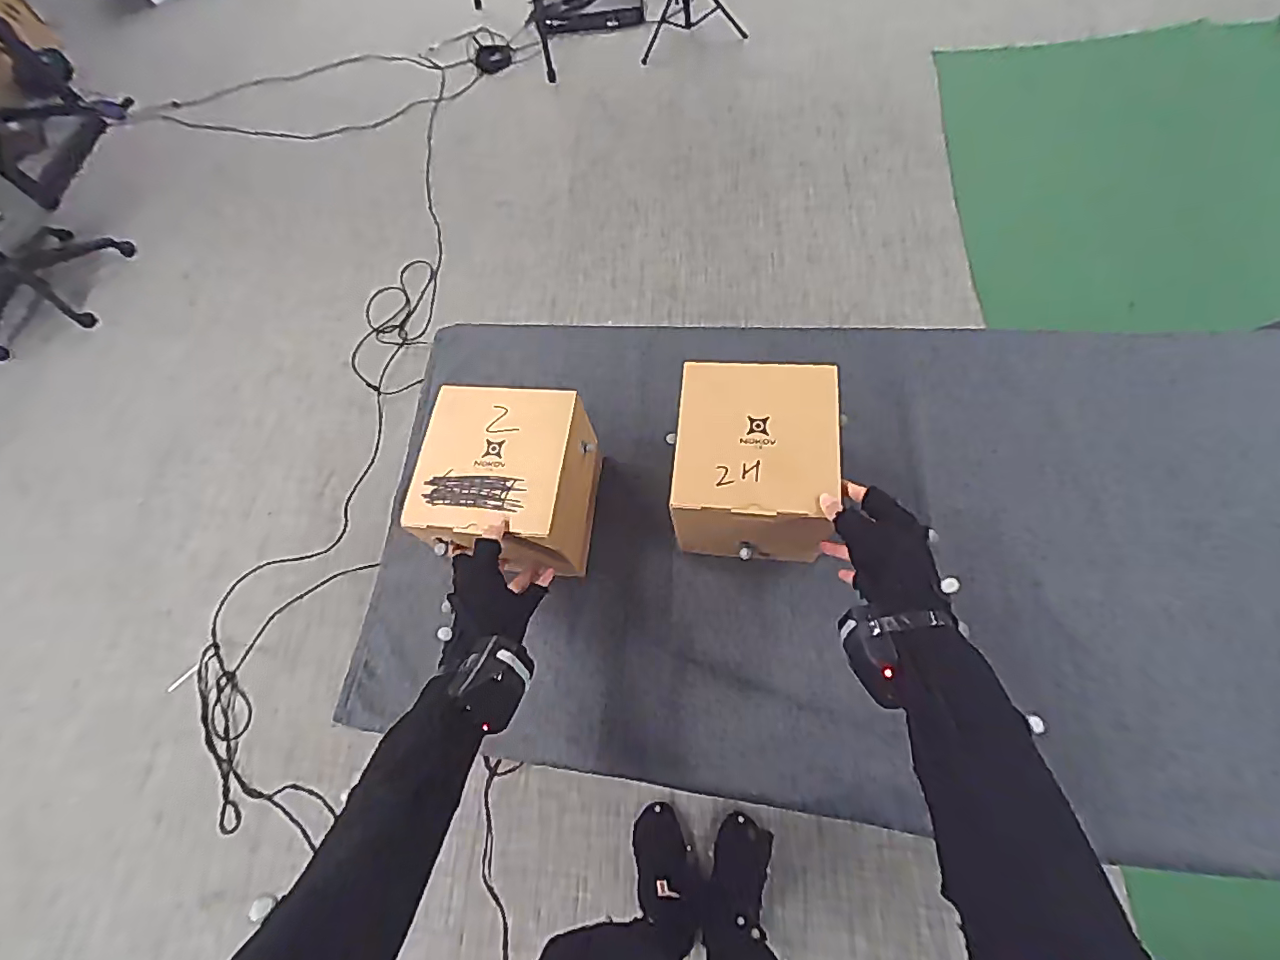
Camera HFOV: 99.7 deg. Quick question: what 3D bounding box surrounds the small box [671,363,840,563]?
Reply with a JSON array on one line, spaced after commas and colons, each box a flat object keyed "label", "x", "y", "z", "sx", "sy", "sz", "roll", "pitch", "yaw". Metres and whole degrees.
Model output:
[{"label": "small box", "x": 0.130, "y": -0.015, "z": 0.632, "sx": 0.168, "sy": 0.176, "sz": 0.179, "roll": 4, "pitch": 68, "yaw": 9}]
